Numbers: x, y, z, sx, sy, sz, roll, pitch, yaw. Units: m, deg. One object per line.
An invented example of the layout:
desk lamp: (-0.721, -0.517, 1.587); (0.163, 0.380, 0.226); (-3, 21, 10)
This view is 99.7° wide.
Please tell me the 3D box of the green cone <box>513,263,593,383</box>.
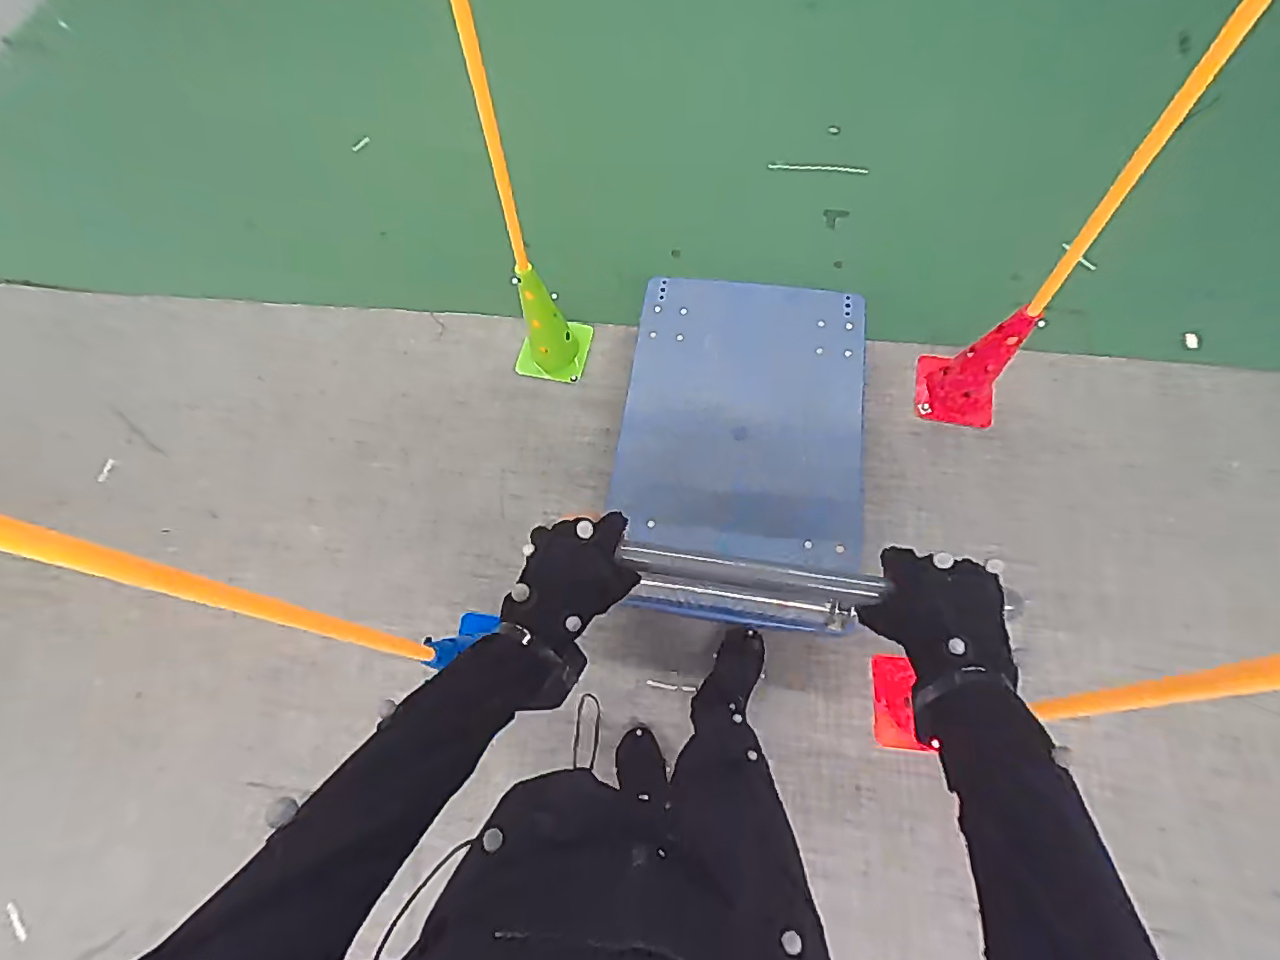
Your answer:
green cone: (-0.266, -0.446, 1.461); (0.202, 0.368, 0.200); (10, 71, 8)

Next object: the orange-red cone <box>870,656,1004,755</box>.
orange-red cone: (0.618, 0.460, 1.088); (0.199, 0.360, 0.198); (5, 71, 8)
